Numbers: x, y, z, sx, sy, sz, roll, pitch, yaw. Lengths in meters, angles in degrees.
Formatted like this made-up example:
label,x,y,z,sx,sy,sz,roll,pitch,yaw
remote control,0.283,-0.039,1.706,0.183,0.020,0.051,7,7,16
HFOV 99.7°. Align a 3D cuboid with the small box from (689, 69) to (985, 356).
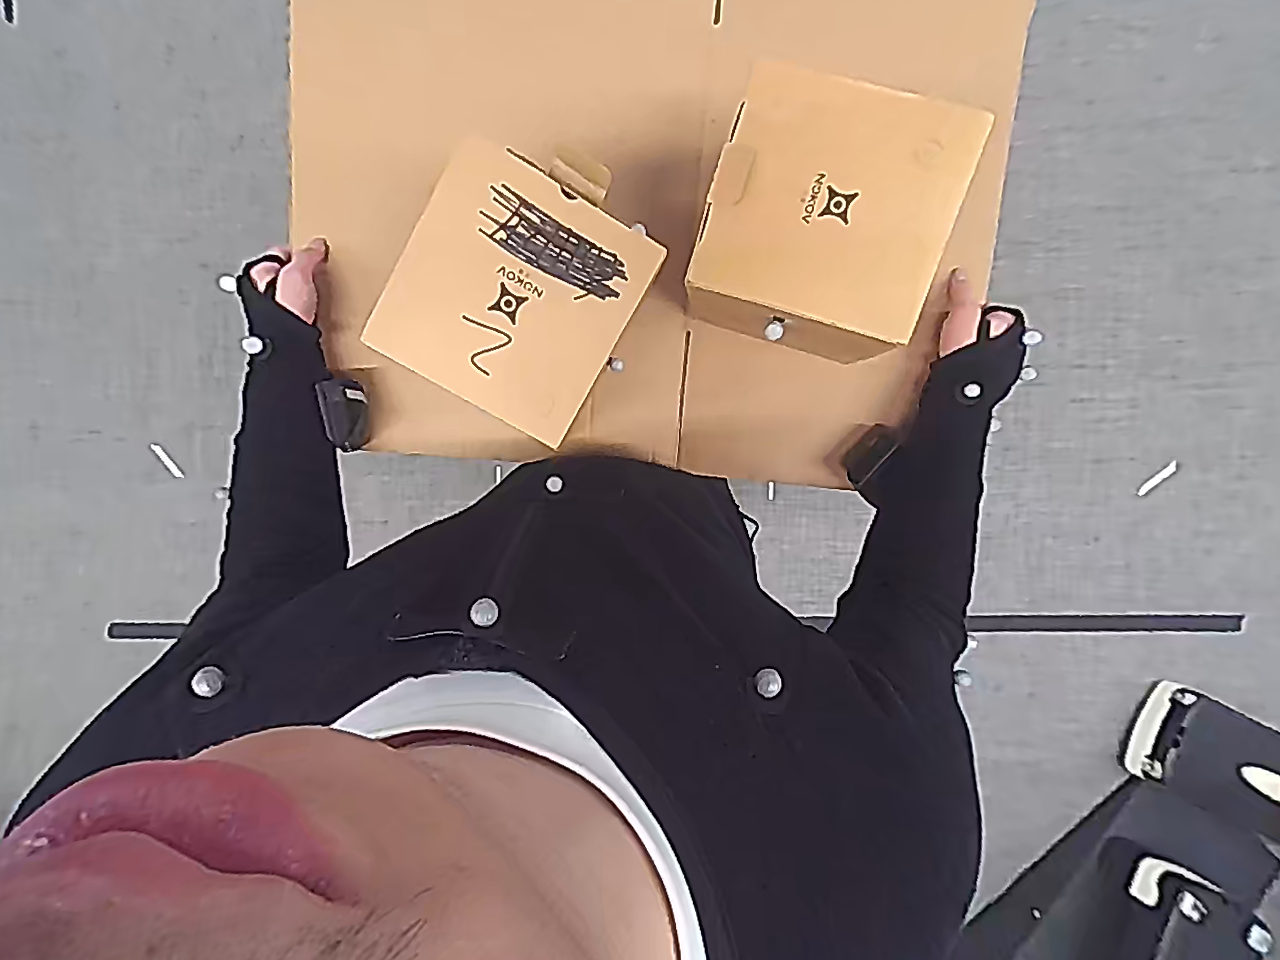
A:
label,x,y,z,sx,sy,sz,roll,pitch,yaw
small box,0.156,-0.216,0.488,0.179,0.176,0.168,19,100,7
